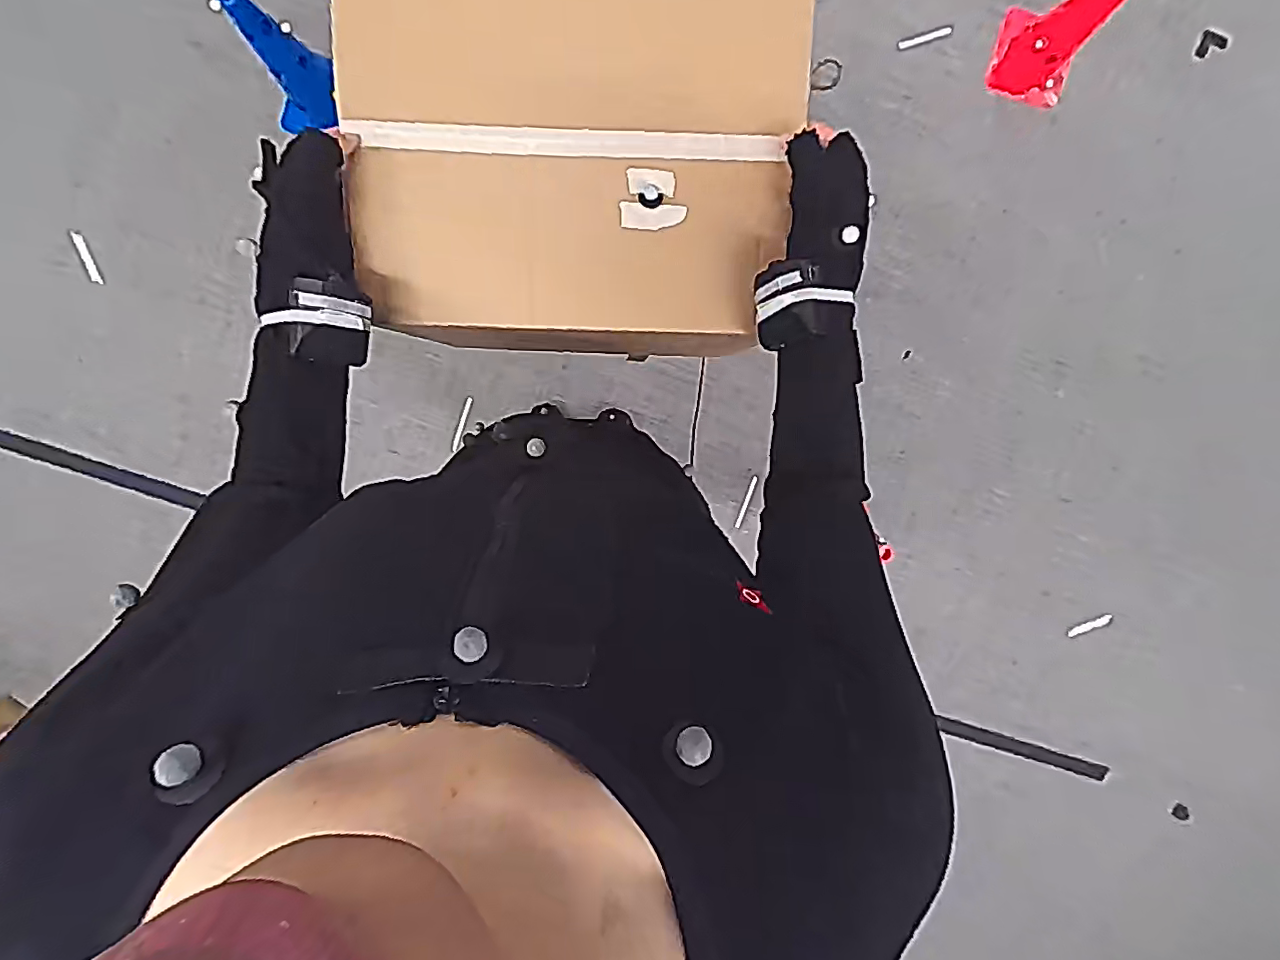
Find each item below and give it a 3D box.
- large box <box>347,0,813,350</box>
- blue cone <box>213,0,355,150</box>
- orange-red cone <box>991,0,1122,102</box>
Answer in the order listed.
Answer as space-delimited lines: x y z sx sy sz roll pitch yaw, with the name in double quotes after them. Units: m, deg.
-0.059 -0.323 0.624 0.408 0.320 0.320 2 100 -3 "large box"
-0.773 -0.918 1.181 0.192 0.380 0.193 22 96 -3 "blue cone"
1.010 -1.067 1.199 0.198 0.360 0.199 16 95 -5 "orange-red cone"
